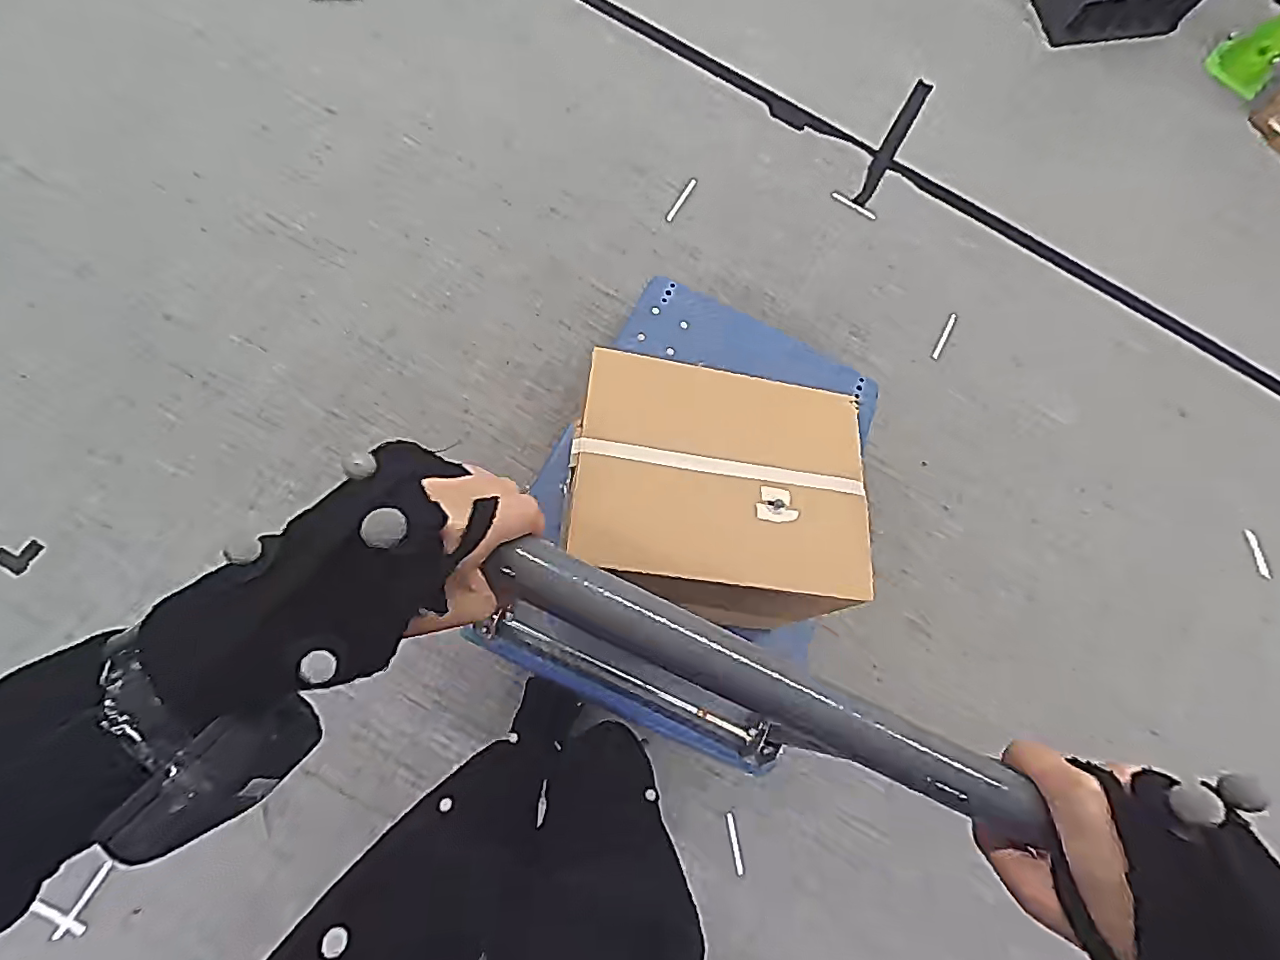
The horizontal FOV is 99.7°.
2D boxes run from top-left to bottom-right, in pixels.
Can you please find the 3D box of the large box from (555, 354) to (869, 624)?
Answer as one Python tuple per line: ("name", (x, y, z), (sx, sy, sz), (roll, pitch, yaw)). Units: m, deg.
("large box", (0.088, 0.042, 0.874), (0.408, 0.320, 0.320), (9, 67, -10))
